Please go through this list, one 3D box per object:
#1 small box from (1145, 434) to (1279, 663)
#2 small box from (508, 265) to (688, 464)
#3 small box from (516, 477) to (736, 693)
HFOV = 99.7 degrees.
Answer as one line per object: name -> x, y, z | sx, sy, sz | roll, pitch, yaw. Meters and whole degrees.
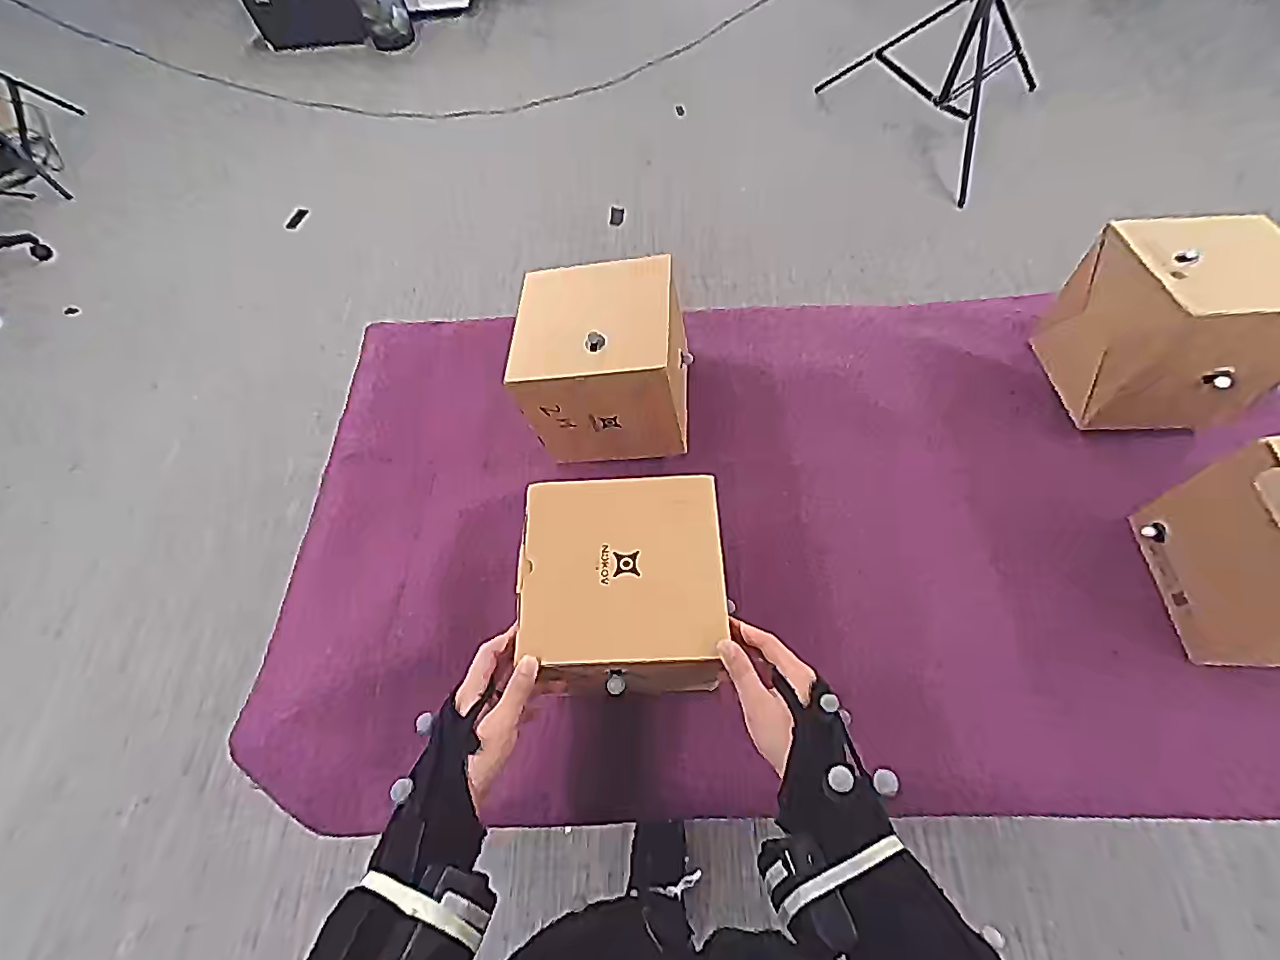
small box -> 0.634, 0.071, 0.503 | 0.179, 0.176, 0.168 | 0, 60, 4
small box -> -0.038, -0.136, 0.652 | 0.179, 0.168, 0.176 | -3, 60, 11
small box -> -0.010, 0.110, 0.530 | 0.179, 0.176, 0.168 | -3, 61, 2
